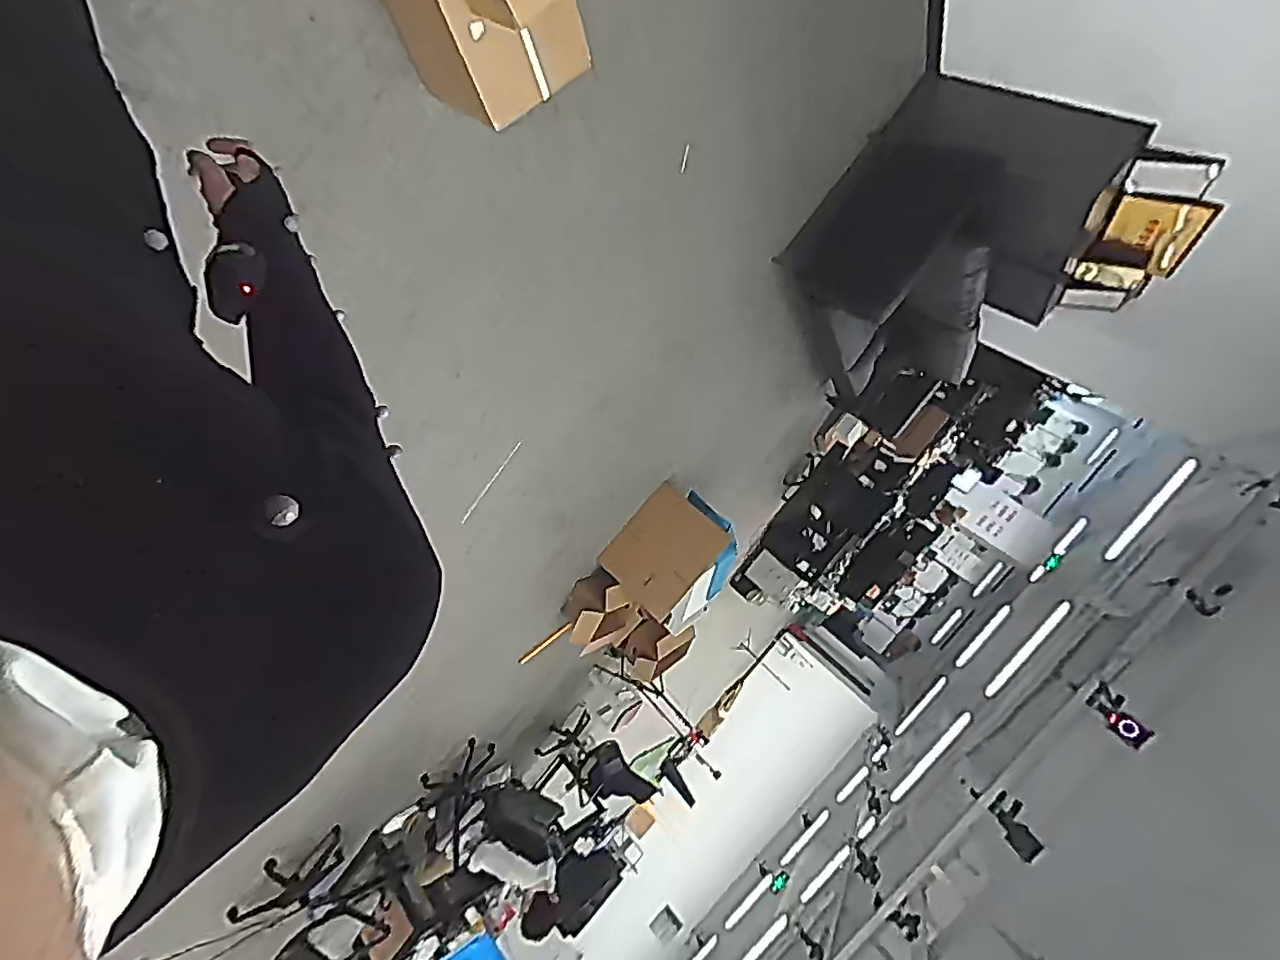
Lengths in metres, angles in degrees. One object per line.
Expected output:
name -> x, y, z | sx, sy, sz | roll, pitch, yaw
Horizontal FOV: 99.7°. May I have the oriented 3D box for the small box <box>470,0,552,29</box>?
small box -> -0.245, -0.982, 0.986 | 0.179, 0.176, 0.168 | -46, 153, -3
